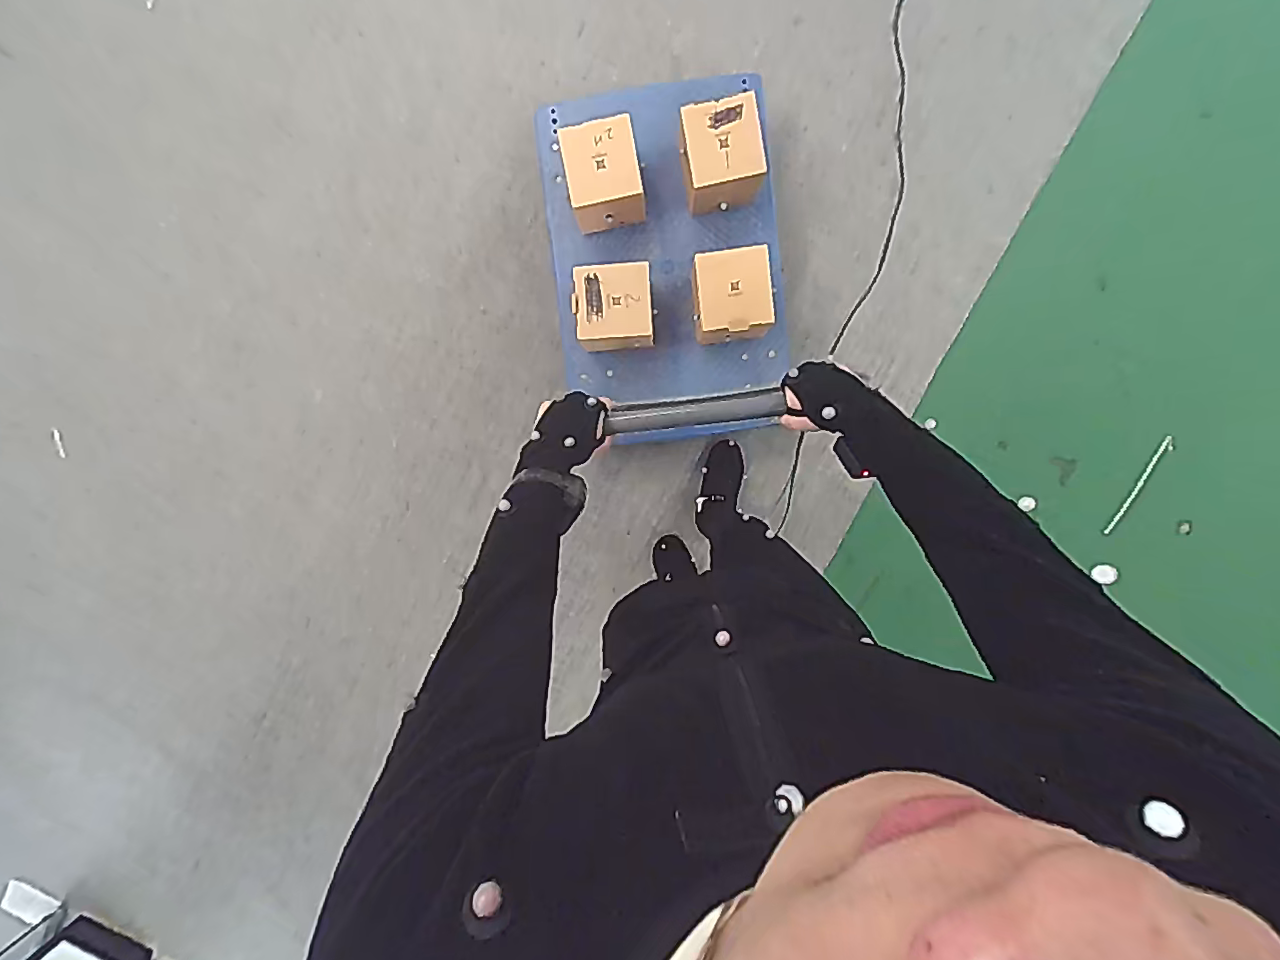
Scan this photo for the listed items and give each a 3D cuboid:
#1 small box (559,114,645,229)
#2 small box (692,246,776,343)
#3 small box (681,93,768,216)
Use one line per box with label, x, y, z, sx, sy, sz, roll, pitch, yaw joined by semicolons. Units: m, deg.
small box;-0.083;-0.713;1.277;0.168;0.176;0.179;-10;95;3
small box;0.218;-0.435;1.291;0.168;0.176;0.179;-6;95;3
small box;0.190;-0.750;1.262;0.168;0.176;0.179;-10;96;4
